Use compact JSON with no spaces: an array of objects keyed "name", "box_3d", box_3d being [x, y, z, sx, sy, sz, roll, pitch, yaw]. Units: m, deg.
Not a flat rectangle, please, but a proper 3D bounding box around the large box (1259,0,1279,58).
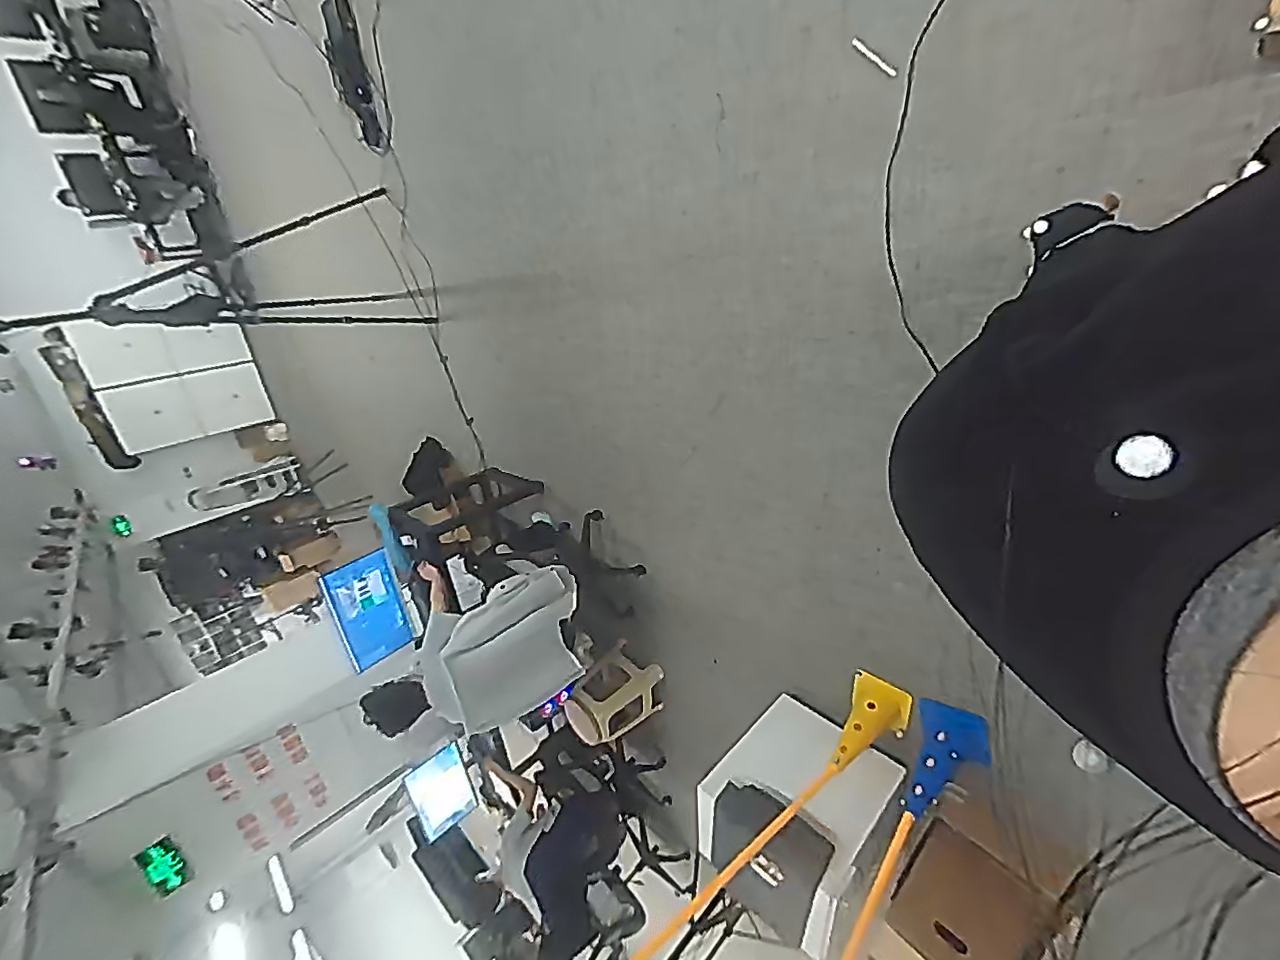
[{"name":"large box","box_3d":[1.056,-0.743,0.618,0.408,0.320,0.320,17,123,43]}]
